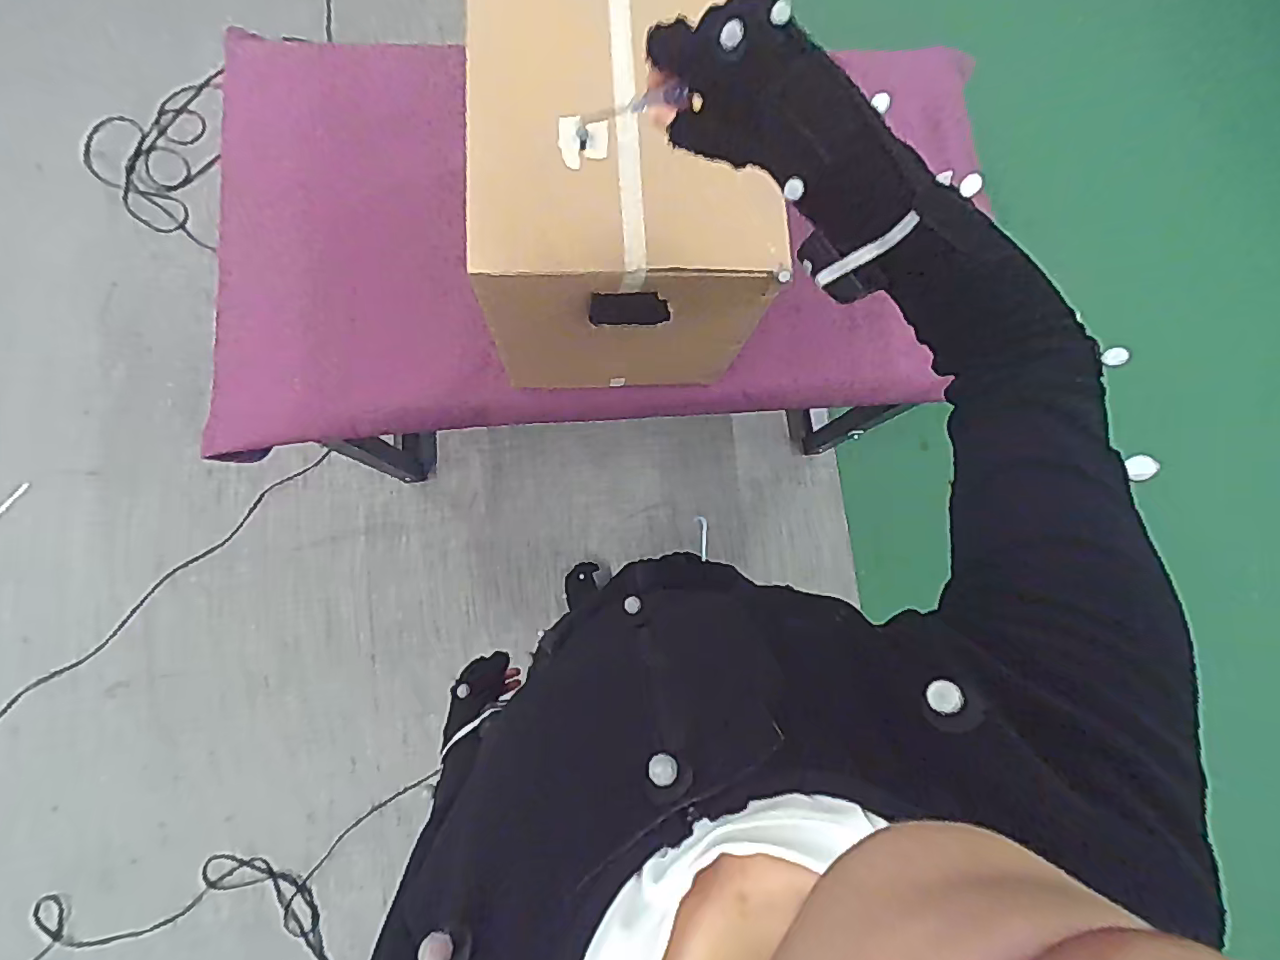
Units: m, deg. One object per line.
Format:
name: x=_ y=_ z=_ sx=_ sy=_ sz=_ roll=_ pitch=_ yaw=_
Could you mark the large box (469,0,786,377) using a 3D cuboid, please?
large box: x=-0.032 y=-0.375 z=0.704 sx=0.320 sy=0.320 sz=0.408 roll=-2 pitch=81 yaw=-6
